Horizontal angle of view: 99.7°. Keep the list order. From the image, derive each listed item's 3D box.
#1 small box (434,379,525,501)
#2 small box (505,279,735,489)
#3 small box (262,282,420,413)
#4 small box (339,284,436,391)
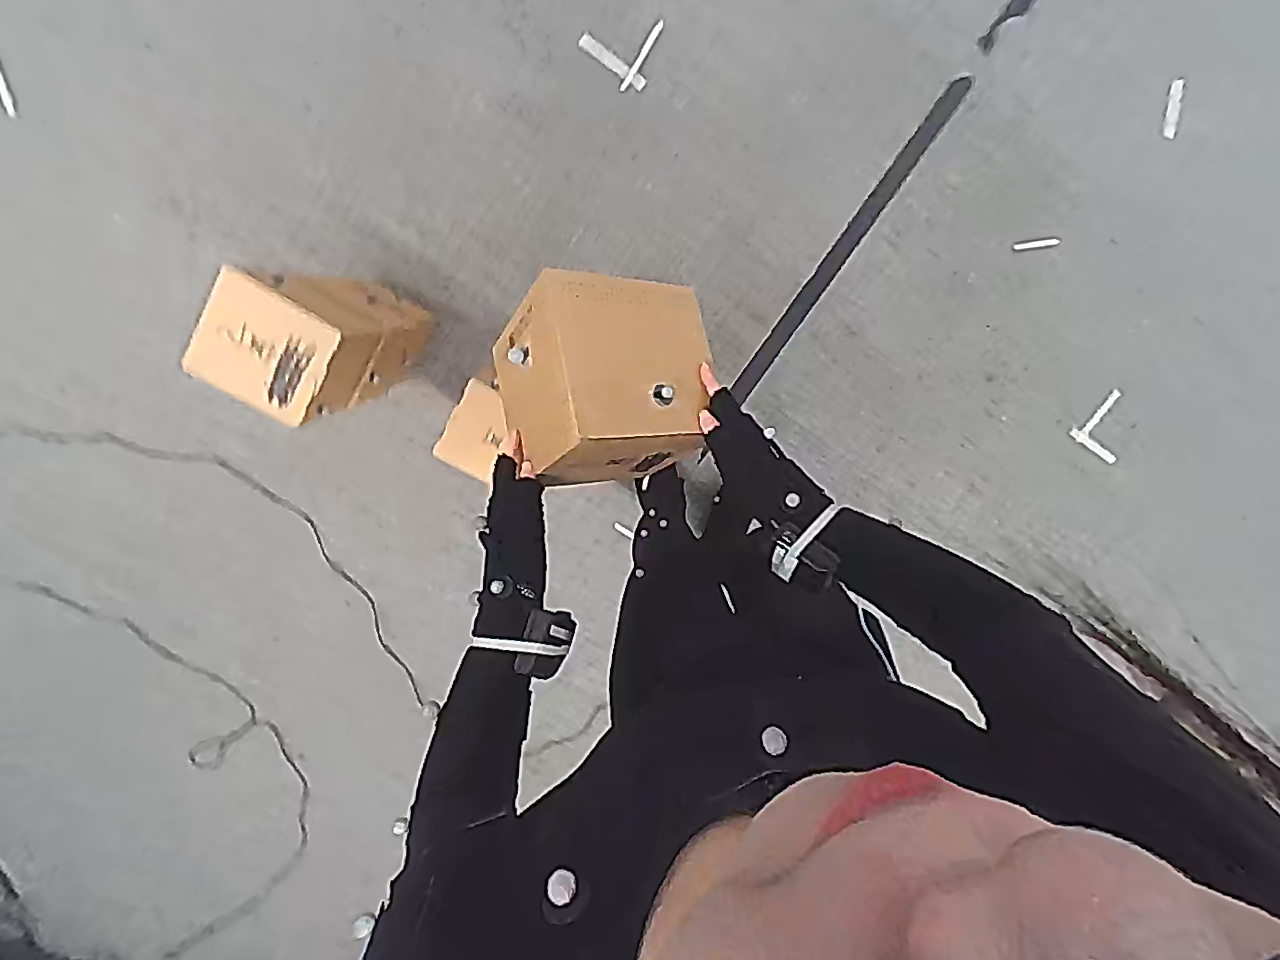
[{"bbox_3d":[-0.281,-0.089,1.096,0.179,0.176,0.168,29,103,-13],"label":"small box"},{"bbox_3d":[-0.029,-0.095,0.582,0.179,0.168,0.176,-5,79,-33],"label":"small box"},{"bbox_3d":[-0.552,-0.248,1.020,0.179,0.176,0.168,29,103,-12],"label":"small box"},{"bbox_3d":[-0.569,-0.301,1.175,0.168,0.176,0.179,29,102,-13],"label":"small box"}]
